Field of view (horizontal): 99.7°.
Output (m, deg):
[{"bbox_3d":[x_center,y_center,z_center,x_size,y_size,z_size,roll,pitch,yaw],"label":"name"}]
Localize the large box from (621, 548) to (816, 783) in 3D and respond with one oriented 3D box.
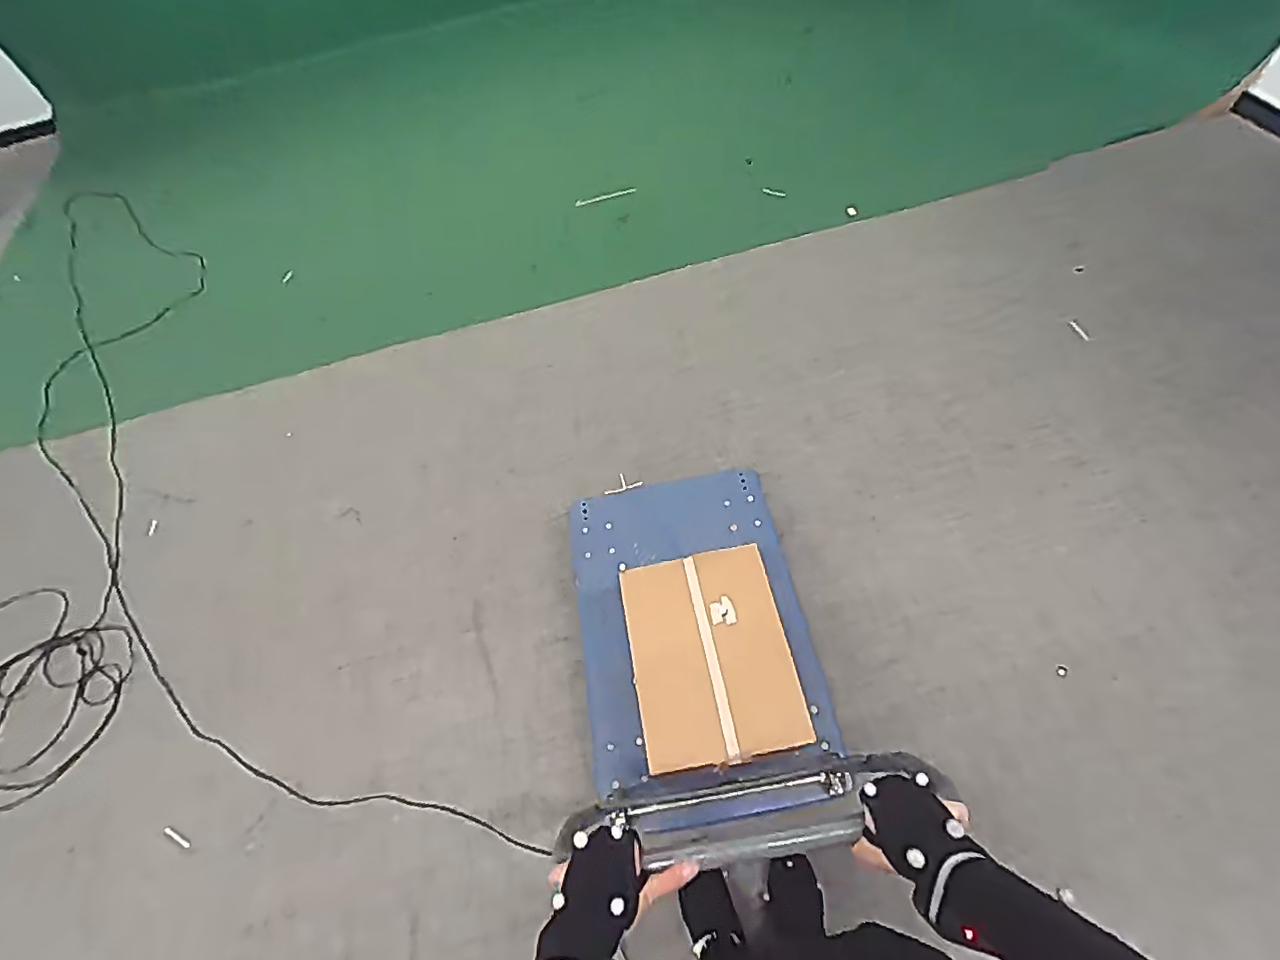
[{"bbox_3d":[0.158,0.422,1.214,0.320,0.320,0.408,-11,58,0],"label":"large box"}]
